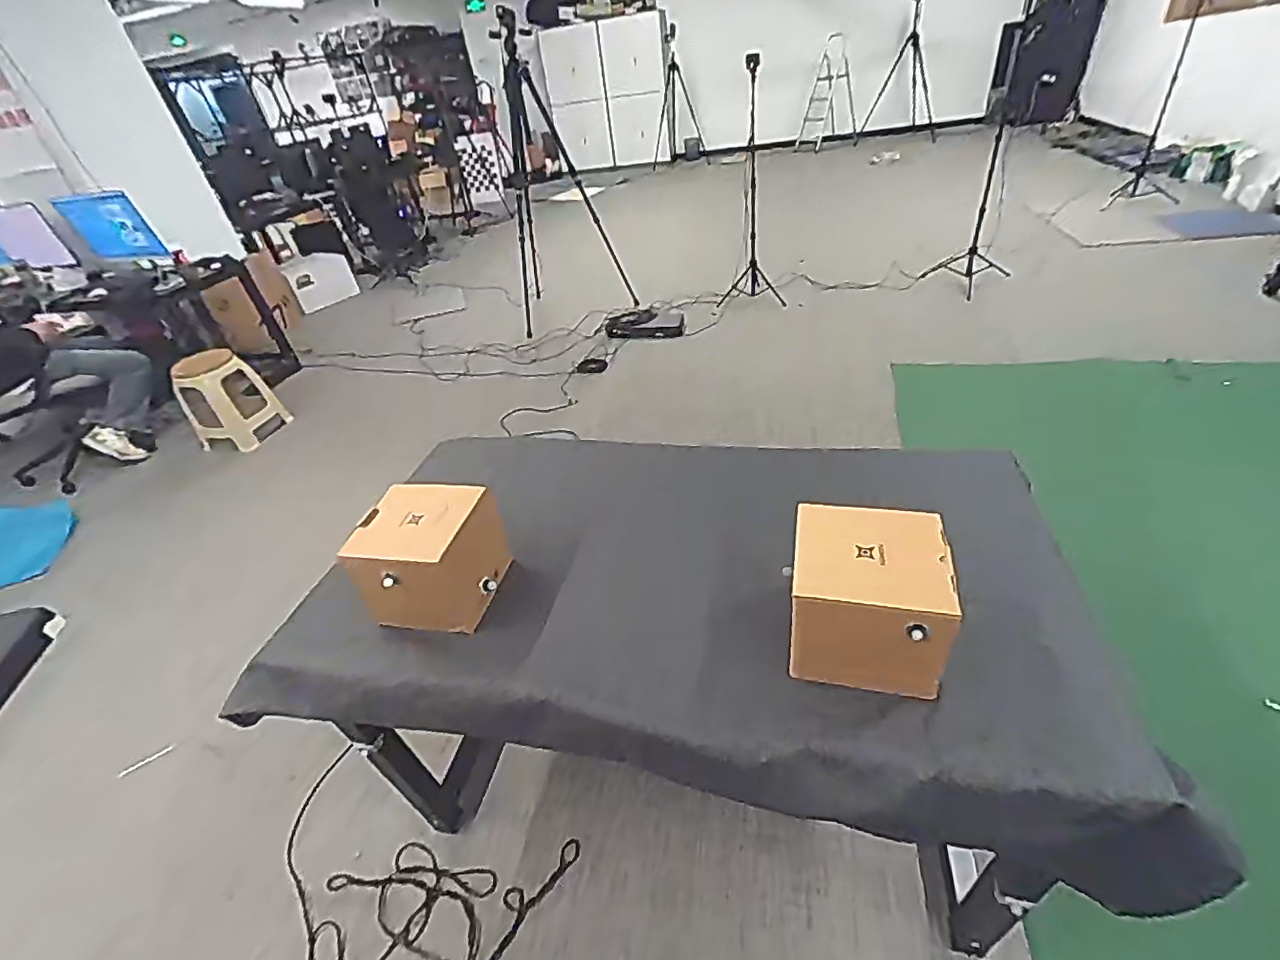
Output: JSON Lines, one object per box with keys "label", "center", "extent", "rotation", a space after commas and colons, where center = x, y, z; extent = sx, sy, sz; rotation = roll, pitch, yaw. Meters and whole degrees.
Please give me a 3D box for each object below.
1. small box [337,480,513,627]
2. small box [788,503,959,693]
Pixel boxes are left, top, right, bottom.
{"label": "small box", "center": [-0.331, 0.118, 0.871], "extent": [0.179, 0.176, 0.168], "rotation": [2, 40, 13]}
{"label": "small box", "center": [0.287, 0.150, 0.699], "extent": [0.179, 0.176, 0.168], "rotation": [4, 40, 17]}
